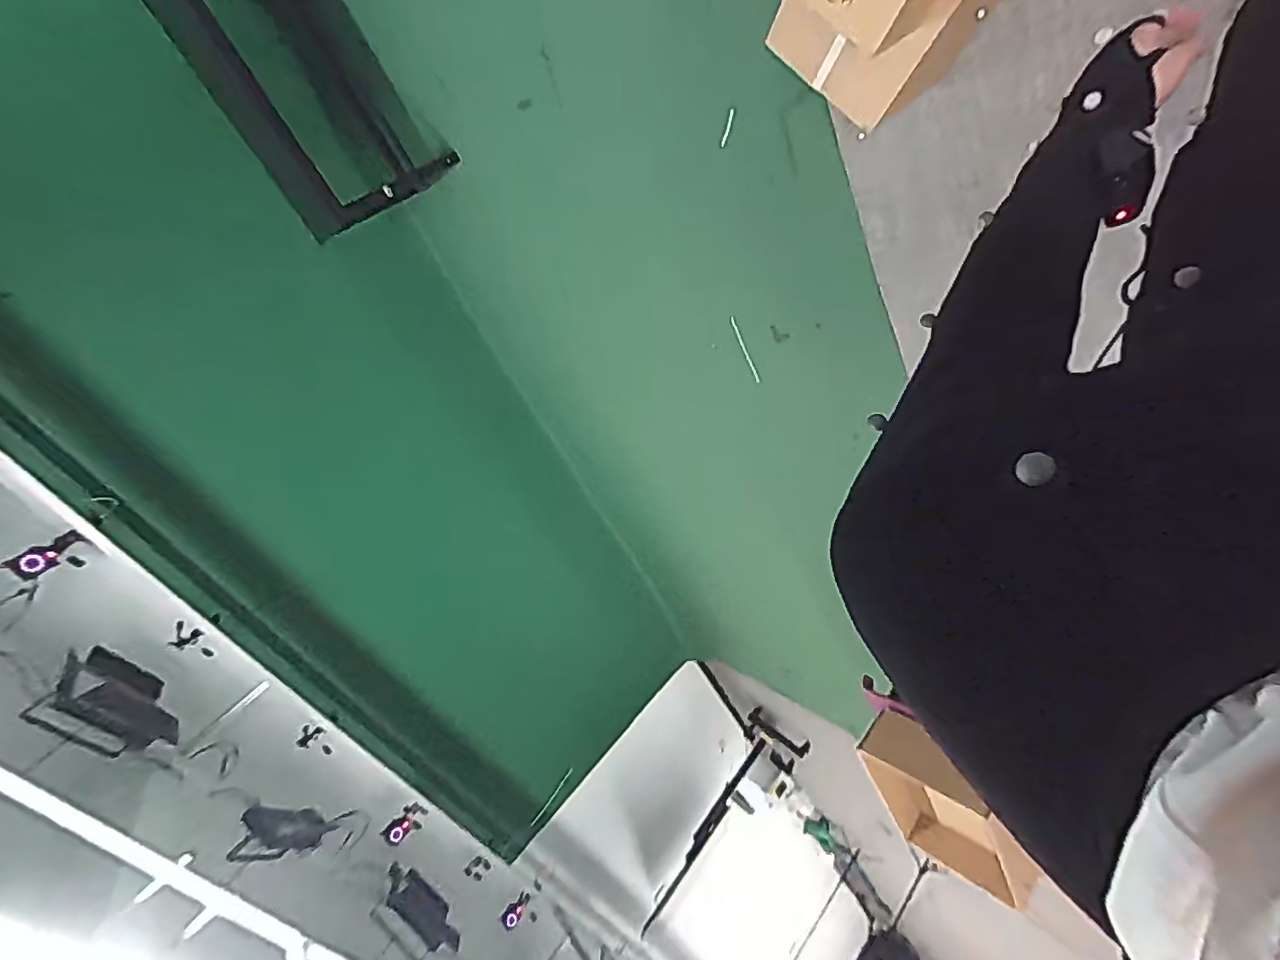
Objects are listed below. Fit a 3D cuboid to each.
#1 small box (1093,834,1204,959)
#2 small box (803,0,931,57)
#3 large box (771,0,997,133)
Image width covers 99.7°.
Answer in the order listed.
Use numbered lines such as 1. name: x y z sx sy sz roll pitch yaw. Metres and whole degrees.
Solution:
1. small box: 1.251 1.024 1.330 0.168 0.176 0.179 11 139 55
2. small box: 0.404 -0.851 0.874 0.168 0.176 0.179 44 157 4
3. large box: 0.532 -1.004 1.041 0.320 0.320 0.408 46 157 5
